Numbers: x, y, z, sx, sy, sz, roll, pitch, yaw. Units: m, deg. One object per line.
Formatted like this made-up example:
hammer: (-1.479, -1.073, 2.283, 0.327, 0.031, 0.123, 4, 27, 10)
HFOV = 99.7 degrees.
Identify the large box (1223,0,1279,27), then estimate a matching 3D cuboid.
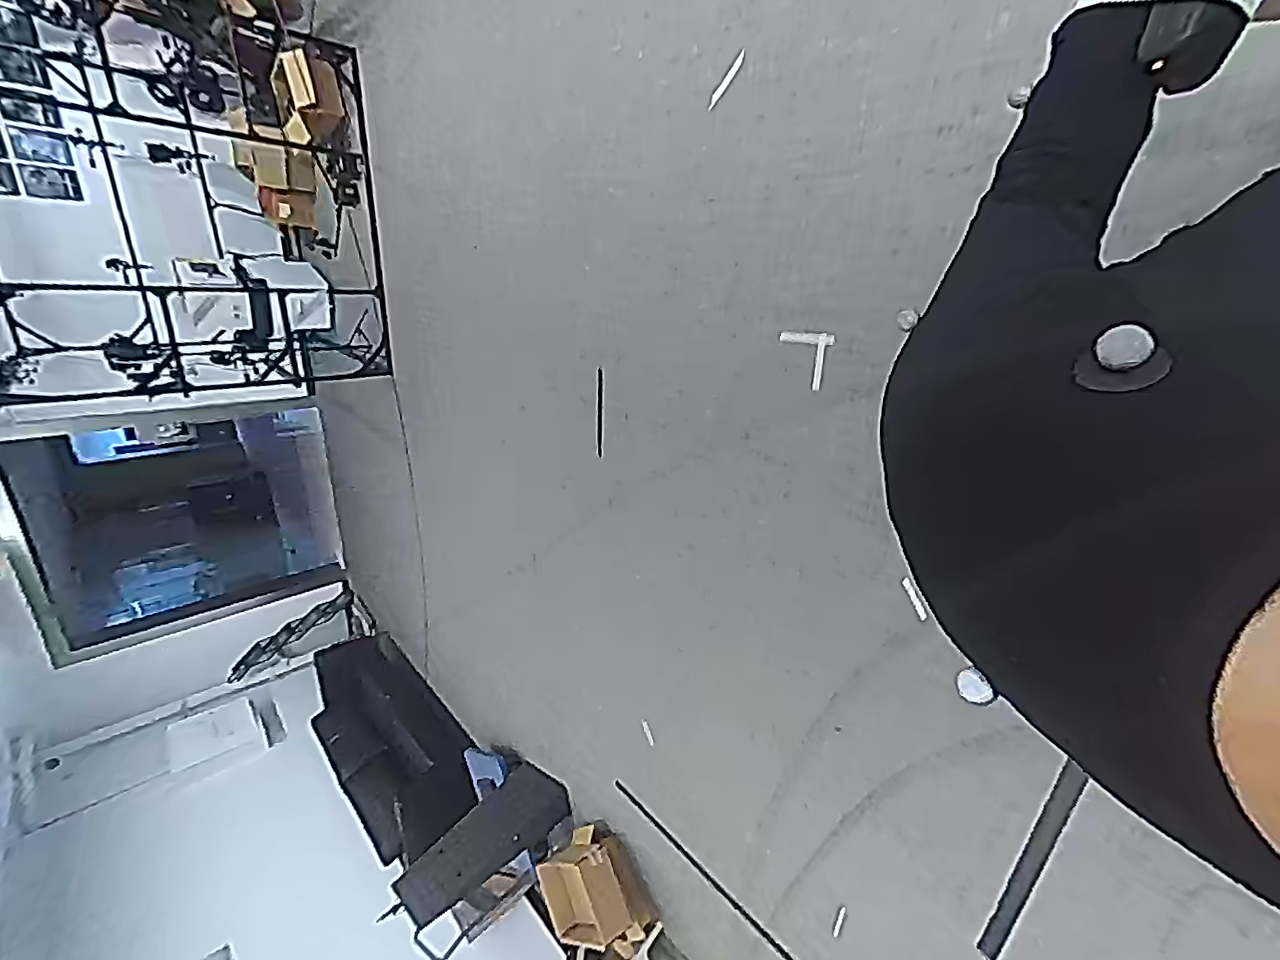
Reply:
large box: (0.597, -0.439, 0.234, 0.408, 0.320, 0.320, 25, 132, 36)
